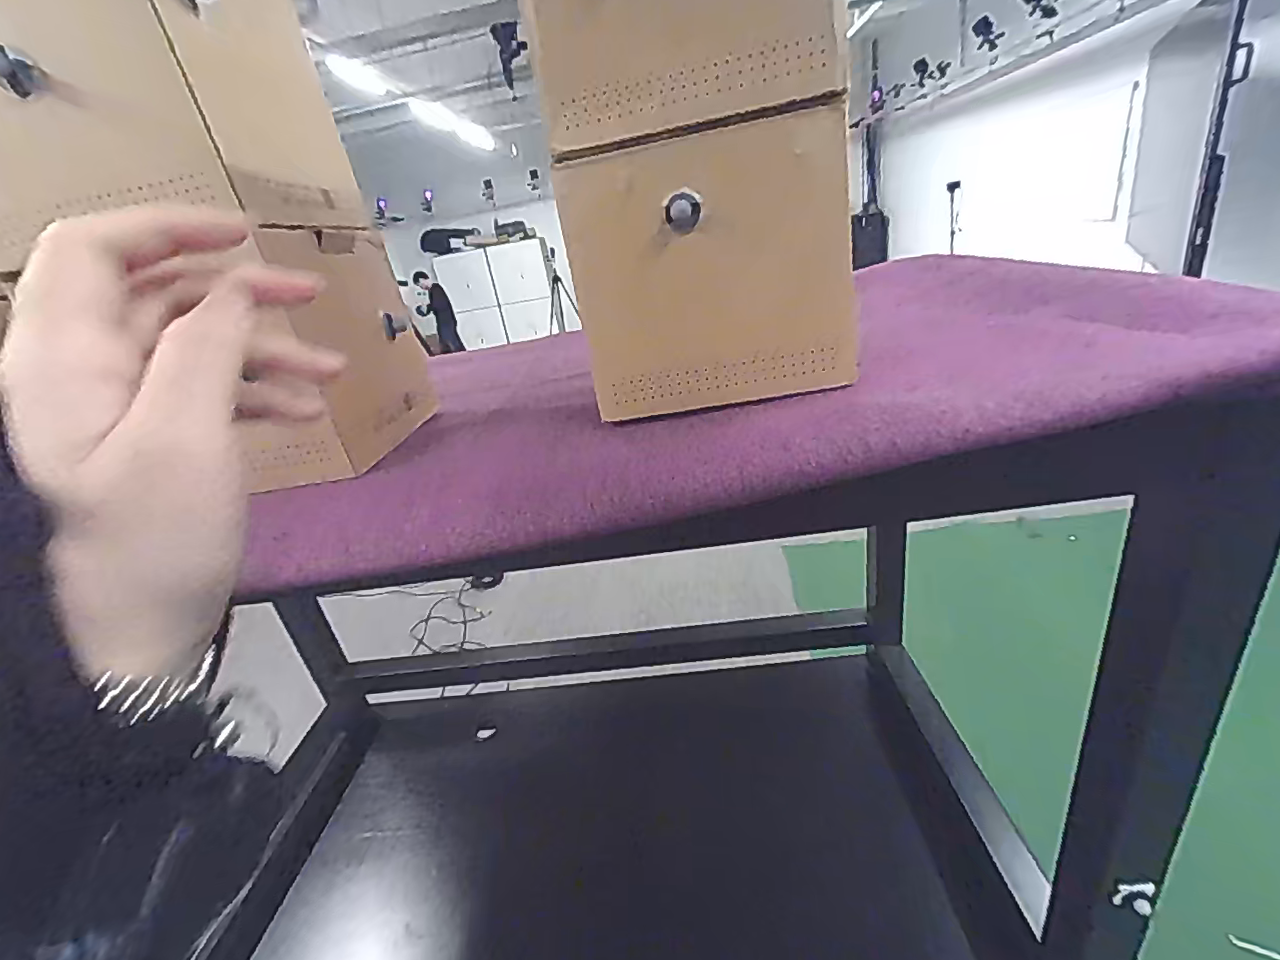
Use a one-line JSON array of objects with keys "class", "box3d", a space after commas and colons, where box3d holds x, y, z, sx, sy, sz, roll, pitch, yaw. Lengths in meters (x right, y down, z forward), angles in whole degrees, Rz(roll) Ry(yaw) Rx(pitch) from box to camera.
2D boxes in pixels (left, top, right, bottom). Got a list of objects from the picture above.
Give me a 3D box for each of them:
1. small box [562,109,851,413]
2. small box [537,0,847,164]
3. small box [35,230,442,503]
[{"class": "small box", "box3d": [0.055, -0.156, 0.427, 0.179, 0.176, 0.168, -7, 20, 7]}, {"class": "small box", "box3d": [0.030, -0.308, 0.370, 0.179, 0.176, 0.168, -8, 21, 8]}, {"class": "small box", "box3d": [-0.289, -0.097, 0.442, 0.179, 0.176, 0.168, -9, 22, 5]}]
